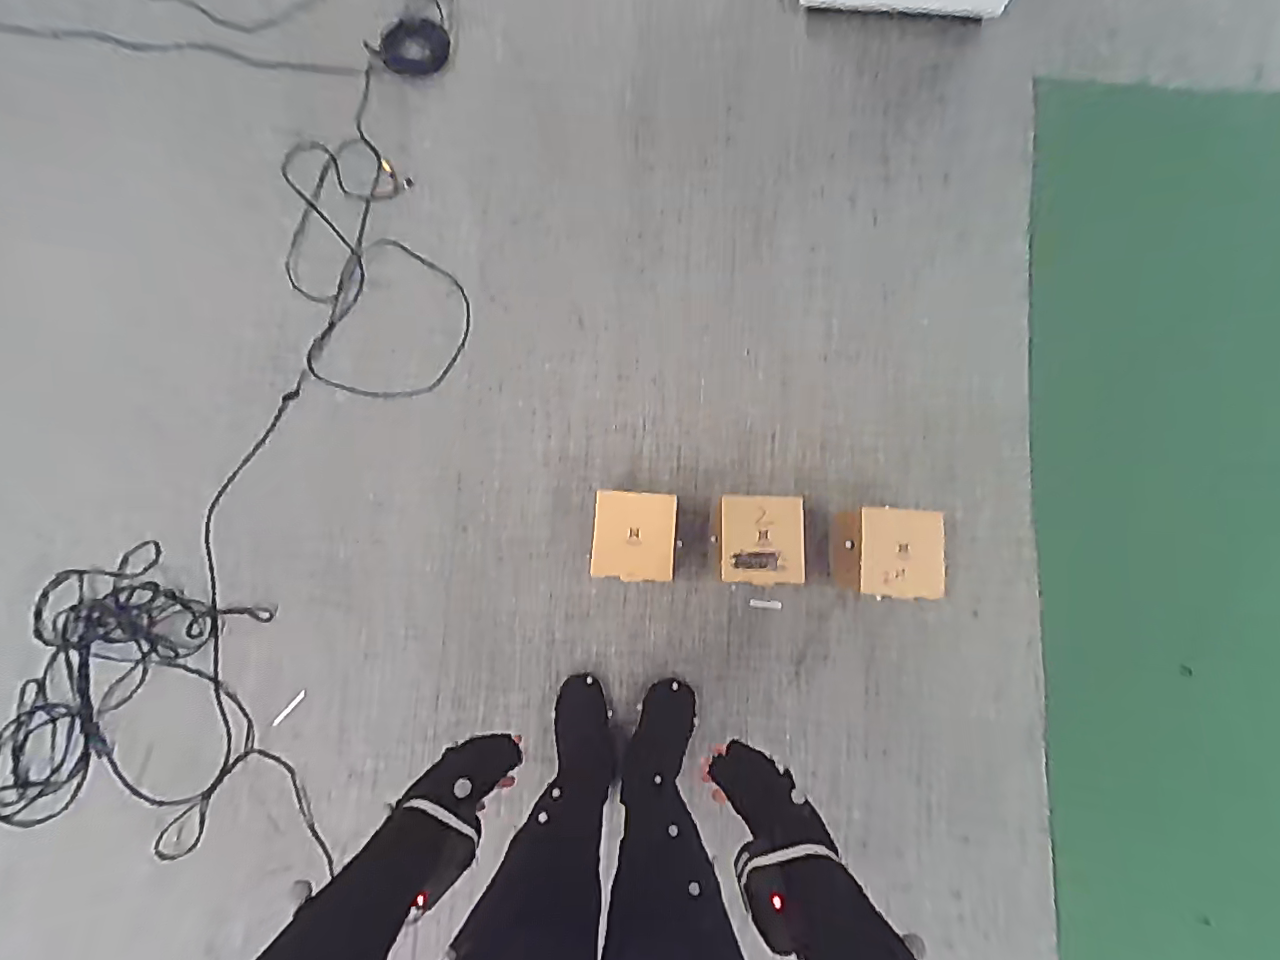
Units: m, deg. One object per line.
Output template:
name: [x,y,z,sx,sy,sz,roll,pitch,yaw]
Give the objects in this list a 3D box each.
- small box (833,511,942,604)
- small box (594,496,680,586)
small box: [0.524,0.166,1.163,0.168,0.176,0.179,4,82,3]
small box: [-0.005,0.136,1.182,0.168,0.176,0.179,4,82,3]
